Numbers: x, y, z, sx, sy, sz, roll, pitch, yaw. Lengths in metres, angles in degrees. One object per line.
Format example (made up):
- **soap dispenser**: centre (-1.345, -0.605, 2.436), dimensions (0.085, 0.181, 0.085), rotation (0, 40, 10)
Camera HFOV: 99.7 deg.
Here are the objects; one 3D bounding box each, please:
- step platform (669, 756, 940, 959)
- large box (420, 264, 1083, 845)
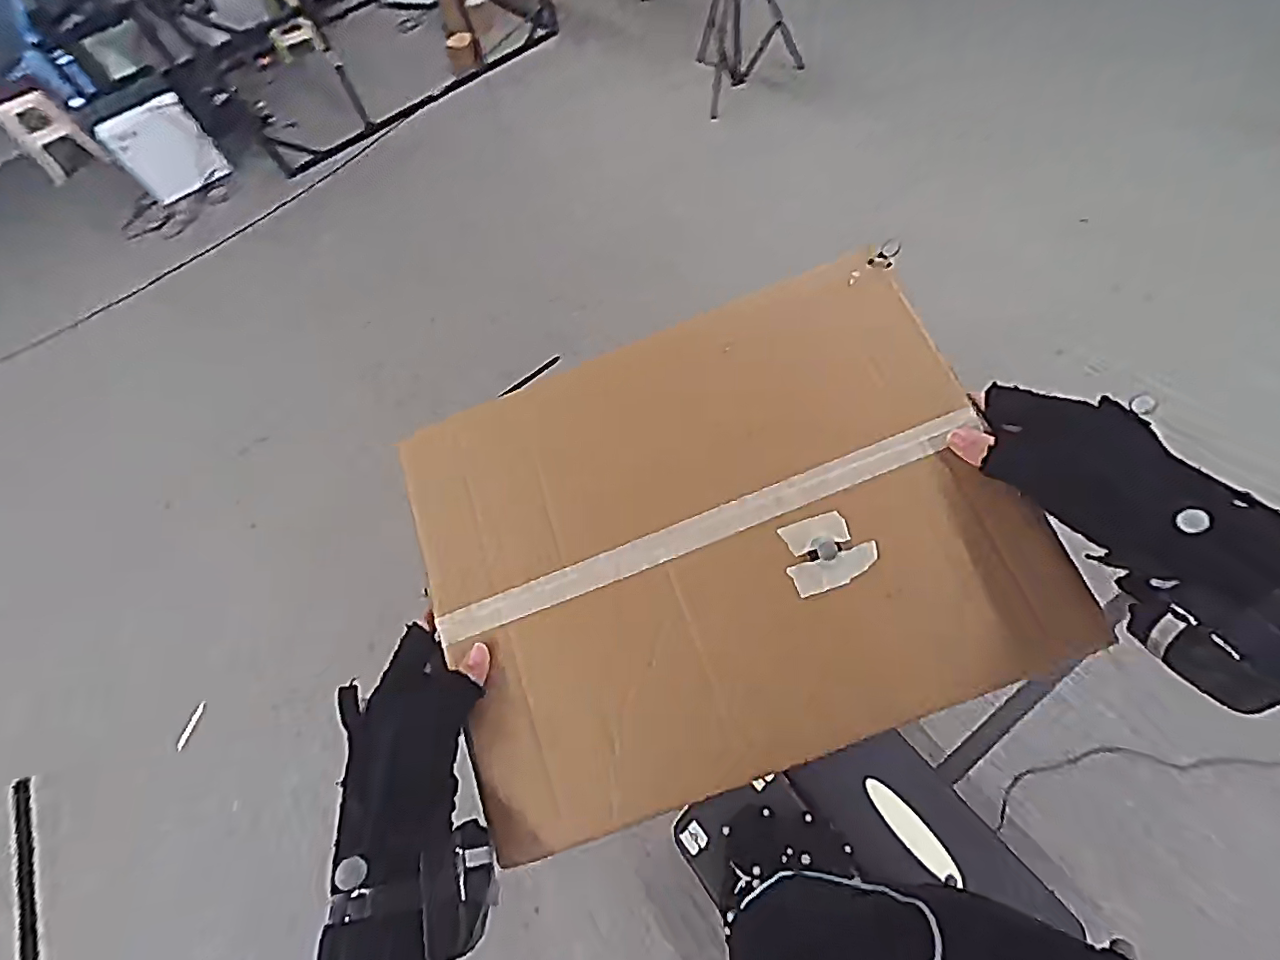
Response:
- **step platform**: centre (0.366, 0.924, 1.156), dimensions (0.286, 0.204, 0.684), rotation (-38, 59, -11)
- **large box**: centre (0.070, 0.075, 0.536), dimensions (0.408, 0.320, 0.320), rotation (-22, 73, 2)
